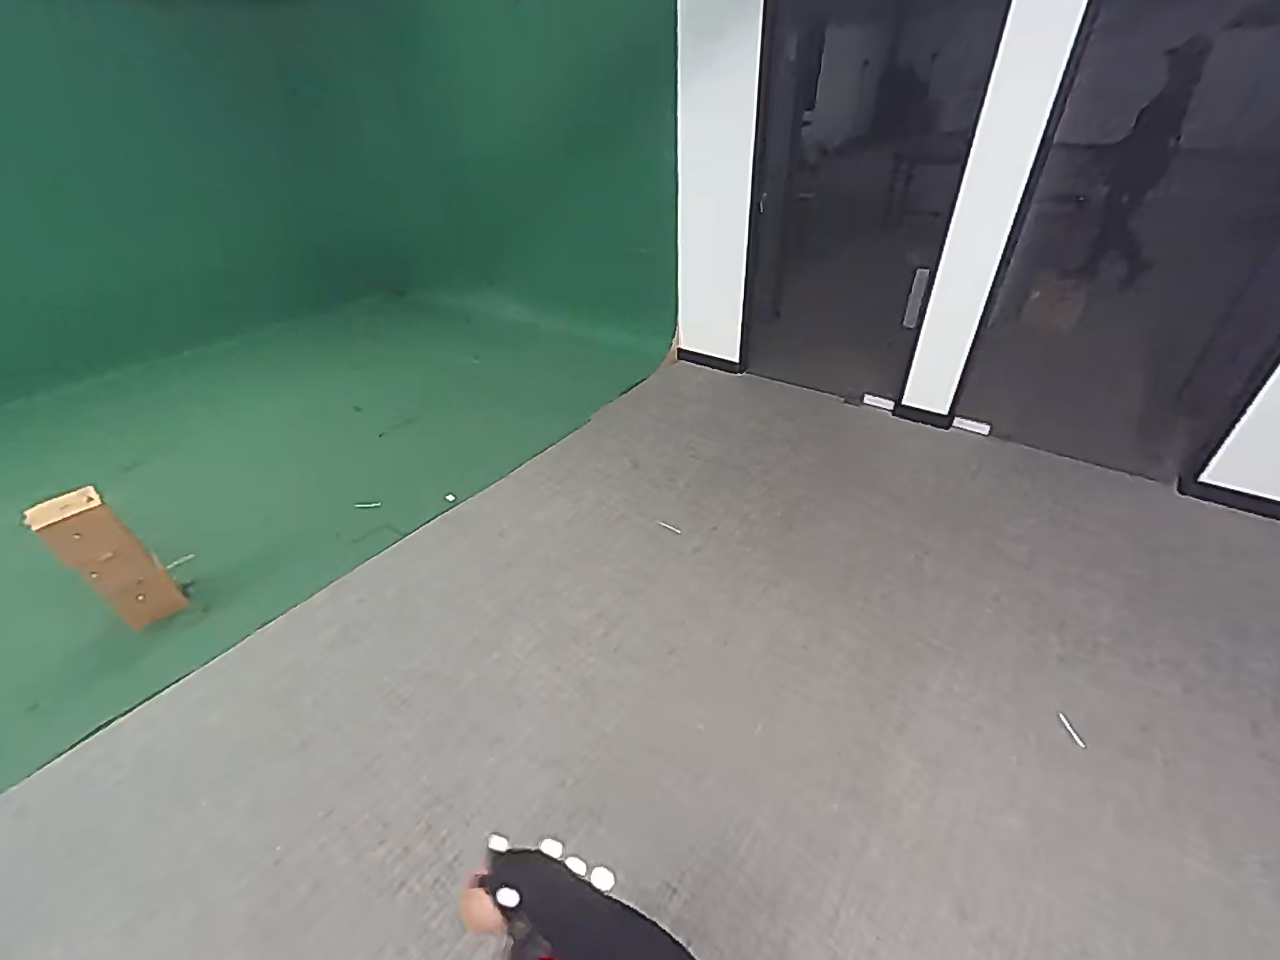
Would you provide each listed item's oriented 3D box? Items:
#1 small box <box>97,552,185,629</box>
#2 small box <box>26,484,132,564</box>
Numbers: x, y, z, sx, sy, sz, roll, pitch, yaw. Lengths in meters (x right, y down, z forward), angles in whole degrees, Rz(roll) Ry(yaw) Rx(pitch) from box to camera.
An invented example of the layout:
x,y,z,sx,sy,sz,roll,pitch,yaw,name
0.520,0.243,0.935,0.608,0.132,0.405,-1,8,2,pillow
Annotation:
x,y,z,sx,sy,sz,roll,pitch,yaw,name
-1.814,0.404,1.976,0.168,0.176,0.179,27,46,33,small box
-1.834,0.146,1.773,0.168,0.176,0.179,26,46,33,small box
